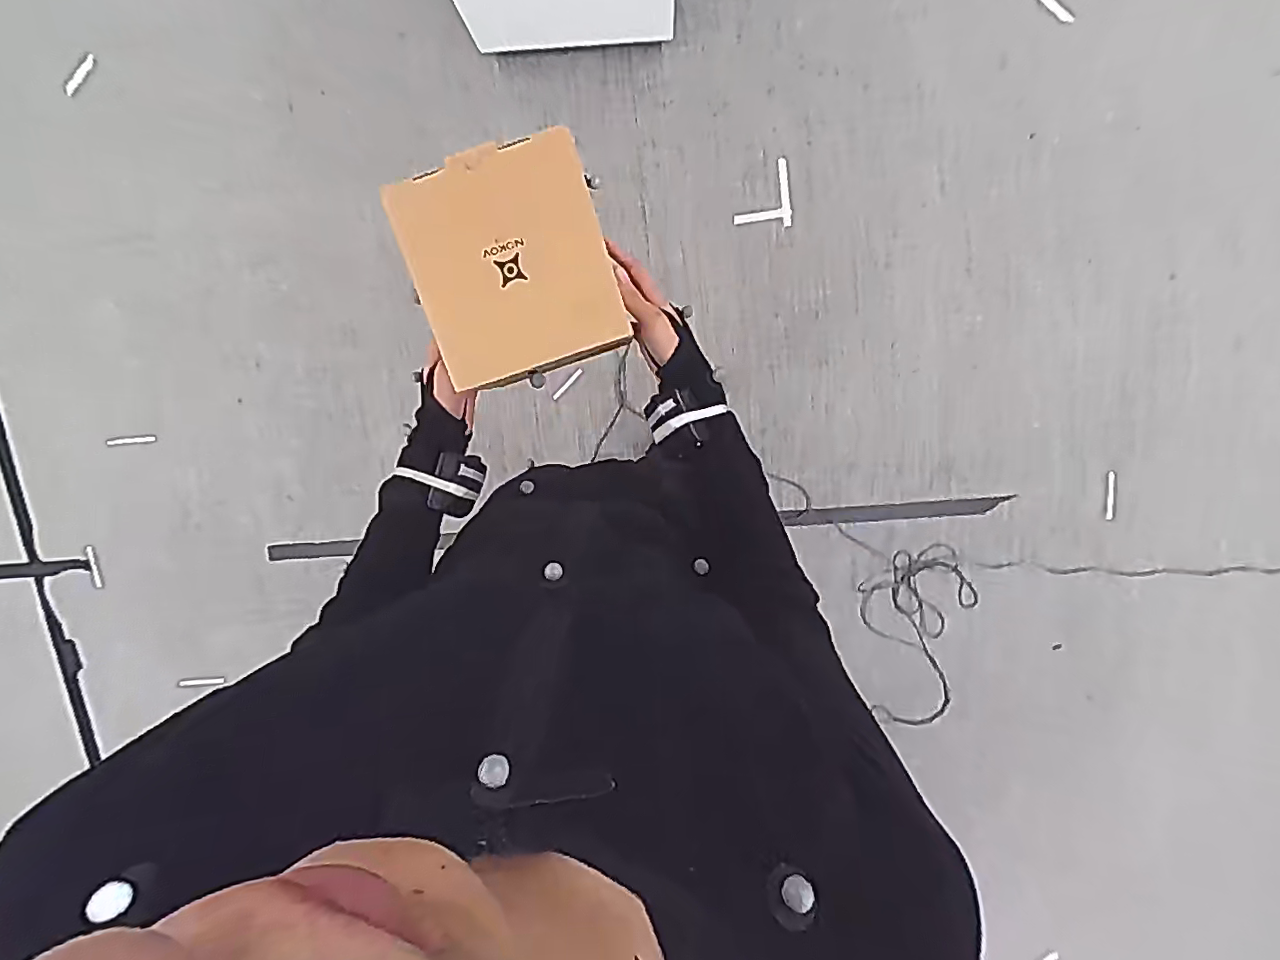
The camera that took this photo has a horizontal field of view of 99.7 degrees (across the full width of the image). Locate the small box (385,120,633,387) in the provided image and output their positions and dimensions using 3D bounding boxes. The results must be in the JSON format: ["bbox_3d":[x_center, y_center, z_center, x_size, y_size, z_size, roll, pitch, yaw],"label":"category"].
[{"bbox_3d":[-0.108,-0.202,0.534,0.168,0.176,0.179,-19,100,2],"label":"small box"}]
